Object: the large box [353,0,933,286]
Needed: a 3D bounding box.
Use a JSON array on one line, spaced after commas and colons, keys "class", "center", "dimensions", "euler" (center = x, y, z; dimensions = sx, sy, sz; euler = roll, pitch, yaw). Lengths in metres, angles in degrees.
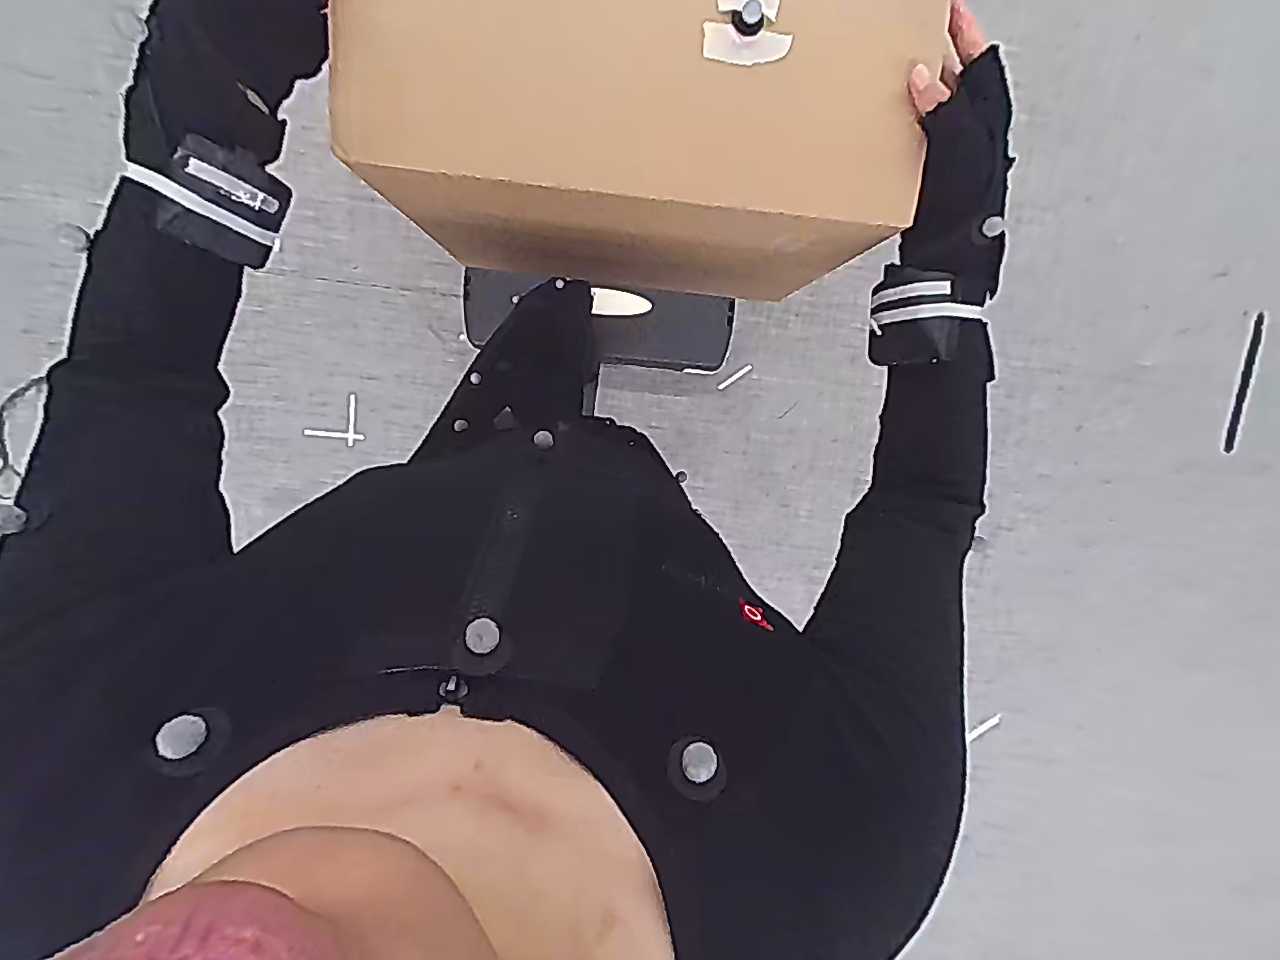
[{"class": "large box", "center": [0.001, -0.388, 0.512], "dimensions": [0.408, 0.320, 0.320], "euler": [5, 99, -4]}]
